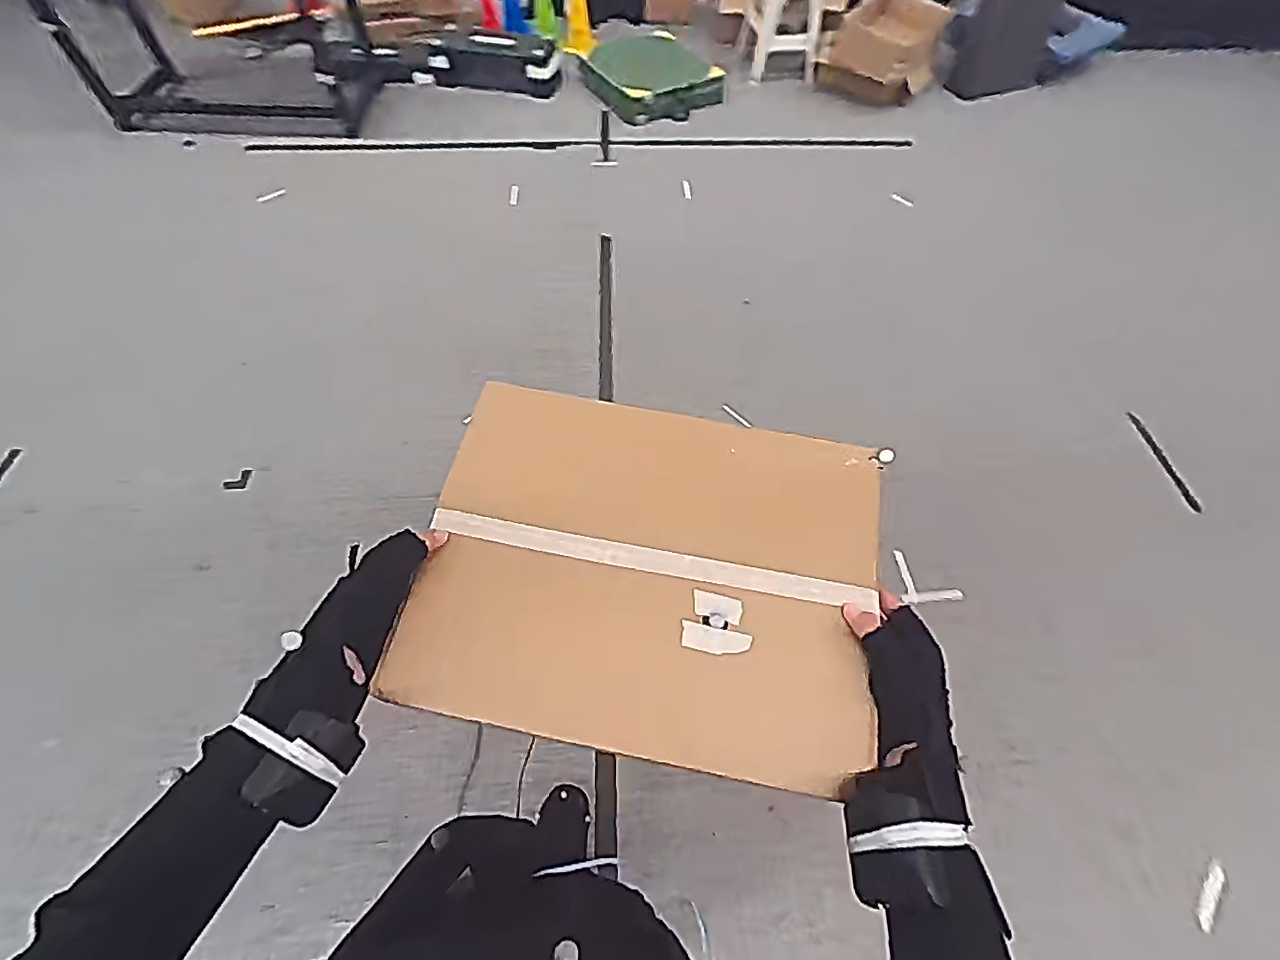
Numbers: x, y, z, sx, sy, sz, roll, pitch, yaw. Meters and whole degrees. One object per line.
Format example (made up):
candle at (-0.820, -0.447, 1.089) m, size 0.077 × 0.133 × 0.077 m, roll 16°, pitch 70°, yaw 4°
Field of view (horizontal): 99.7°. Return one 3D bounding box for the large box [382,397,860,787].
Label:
large box at (-0.001, 0.140, 0.635) m, size 0.408 × 0.320 × 0.320 m, roll 10°, pitch 66°, yaw 4°
